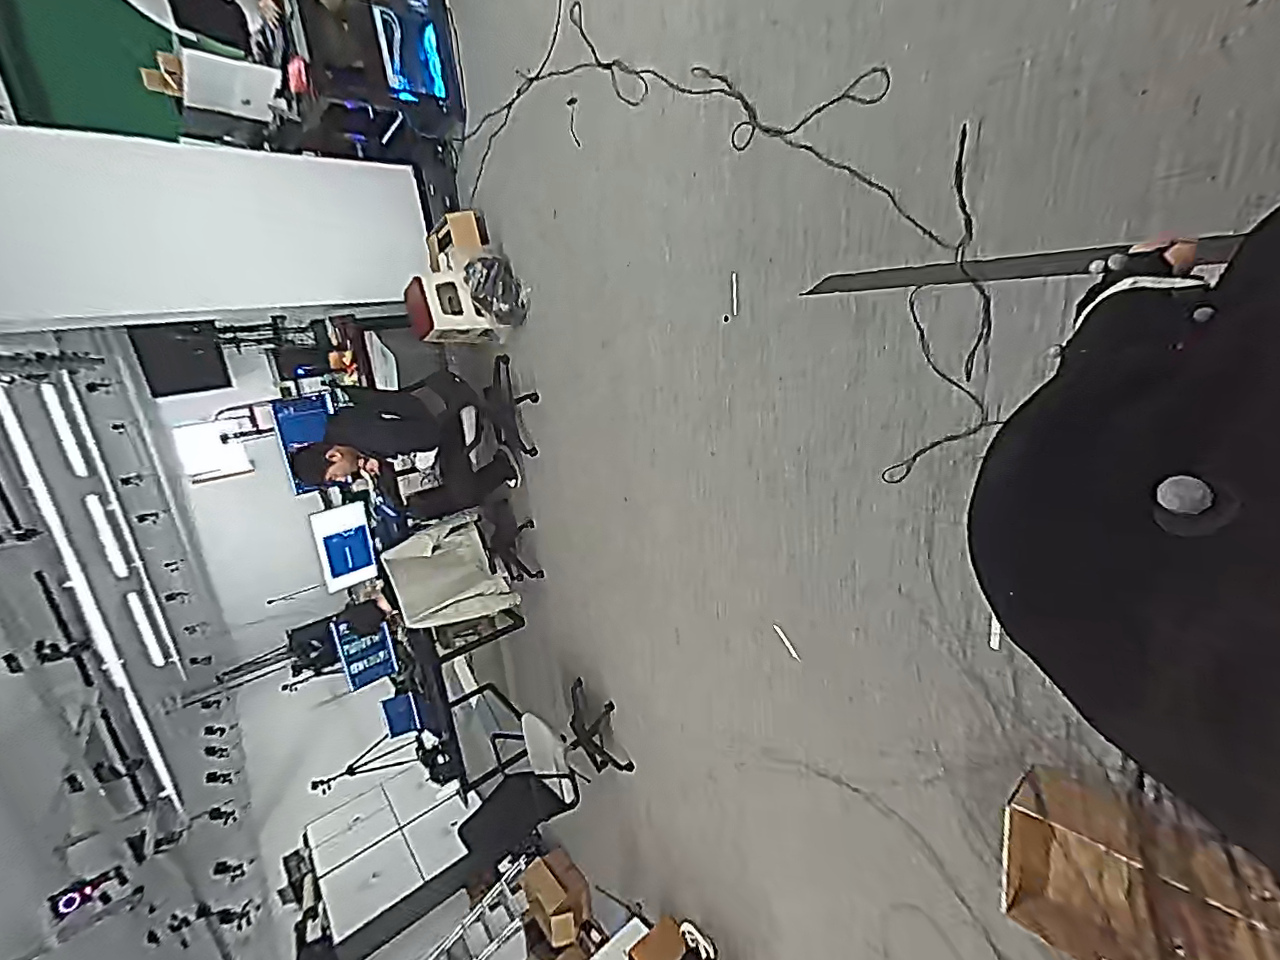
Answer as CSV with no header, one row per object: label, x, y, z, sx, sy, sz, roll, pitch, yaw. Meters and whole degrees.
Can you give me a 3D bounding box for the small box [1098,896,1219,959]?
small box,1.089,1.052,1.142,0.168,0.176,0.179,9,112,50
